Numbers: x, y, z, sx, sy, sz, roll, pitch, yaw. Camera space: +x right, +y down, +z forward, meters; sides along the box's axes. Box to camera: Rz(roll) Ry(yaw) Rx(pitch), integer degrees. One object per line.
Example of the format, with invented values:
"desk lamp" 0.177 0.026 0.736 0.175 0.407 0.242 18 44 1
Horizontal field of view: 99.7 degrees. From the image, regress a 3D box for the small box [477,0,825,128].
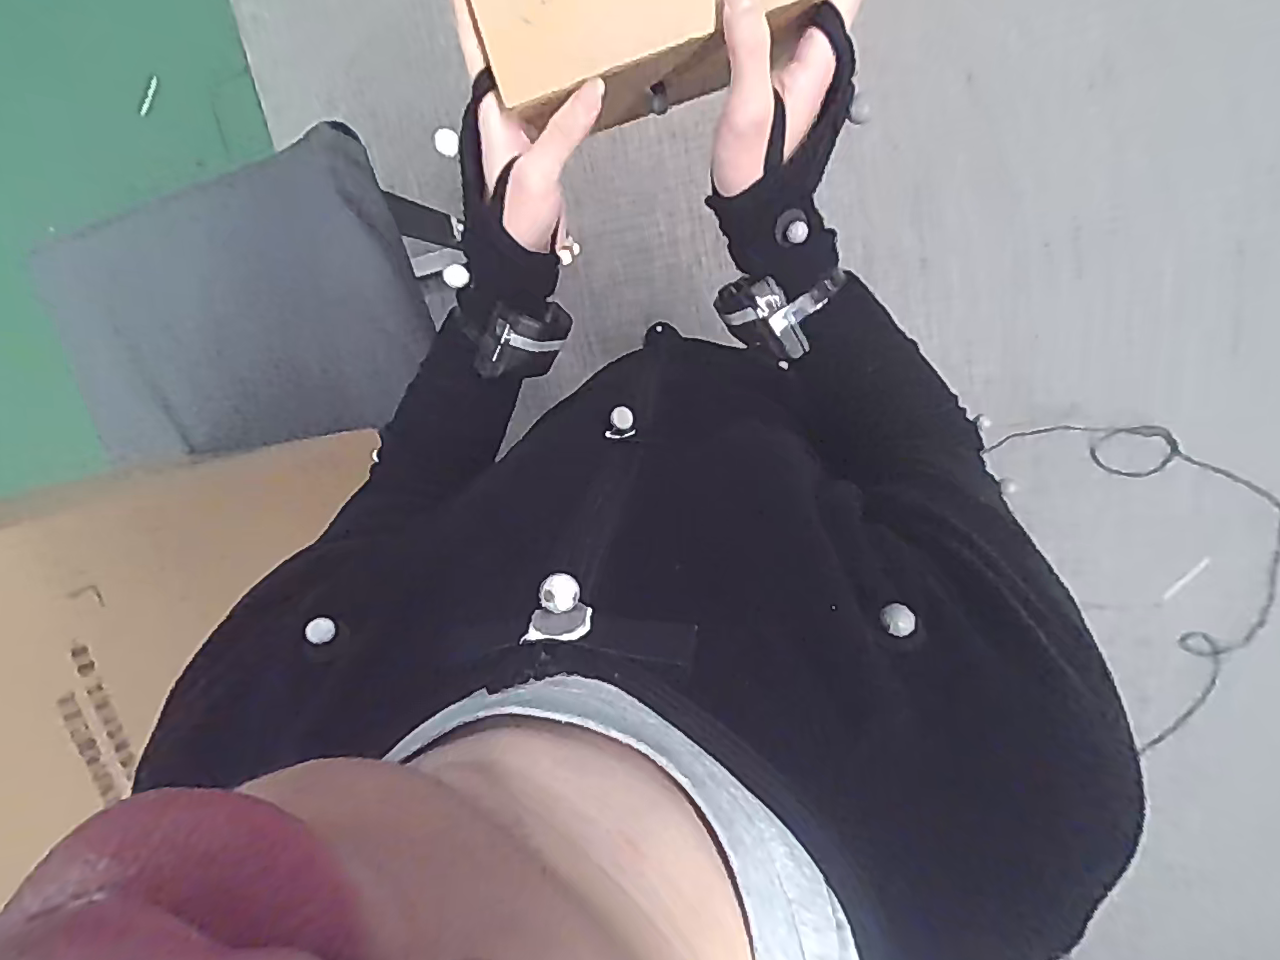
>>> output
"small box" 0.001 -0.329 0.315 0.179 0.176 0.168 -9 115 14
